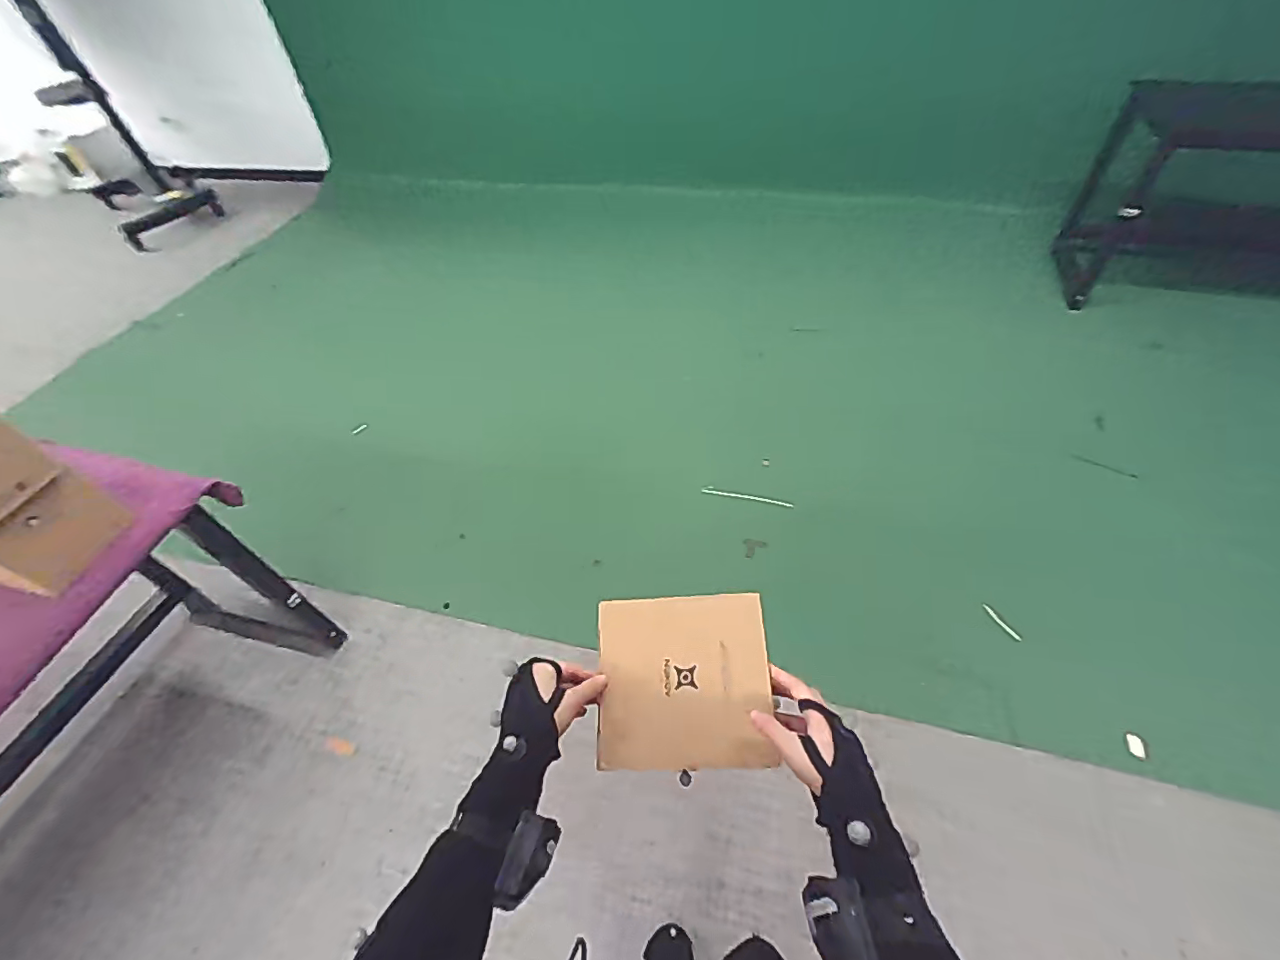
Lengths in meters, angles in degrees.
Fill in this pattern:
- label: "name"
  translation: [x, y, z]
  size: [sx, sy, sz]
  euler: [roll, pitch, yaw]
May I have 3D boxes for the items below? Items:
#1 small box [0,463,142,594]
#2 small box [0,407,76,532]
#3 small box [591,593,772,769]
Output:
- label: "small box"
  translation: [-1.055, 0.077, 0.948]
  size: [0.168, 0.176, 0.179]
  euler: [9, 51, 12]
- label: "small box"
  translation: [-1.050, -0.025, 0.818]
  size: [0.179, 0.176, 0.168]
  euler: [10, 52, 14]
- label: "small box"
  translation: [0.050, 0.235, 0.616]
  size: [0.179, 0.176, 0.168]
  euler: [-5, 62, 7]
